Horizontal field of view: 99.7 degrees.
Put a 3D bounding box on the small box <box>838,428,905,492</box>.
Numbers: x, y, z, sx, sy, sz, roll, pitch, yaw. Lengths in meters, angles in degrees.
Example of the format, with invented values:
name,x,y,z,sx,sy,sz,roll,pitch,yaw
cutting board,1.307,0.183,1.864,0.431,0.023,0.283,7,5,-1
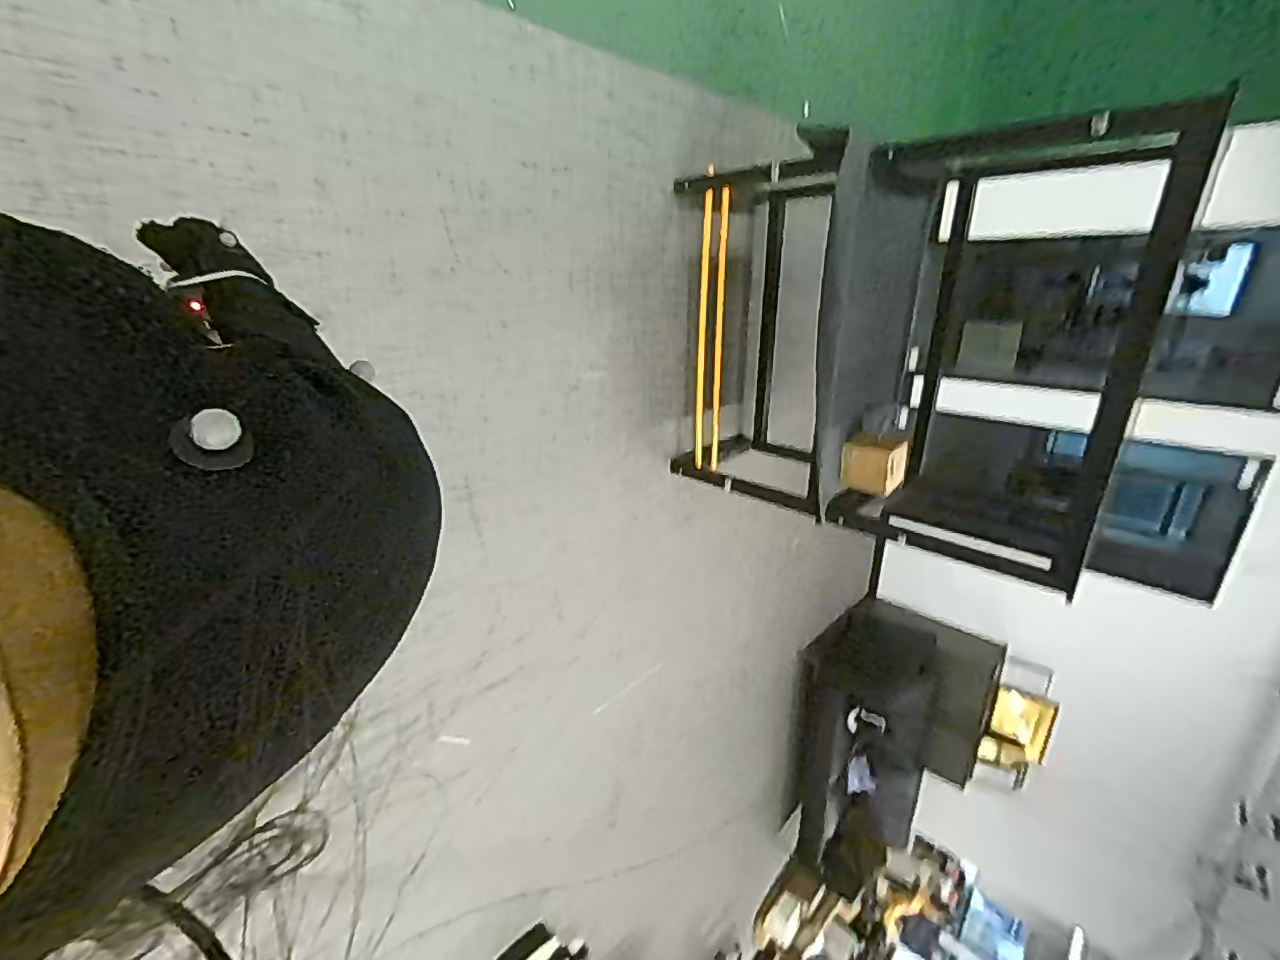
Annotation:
name,x,y,z,sx,sy,sz,roll,pitch,yaw
small box,0.834,-0.076,1.956,0.179,0.176,0.168,-29,124,-40
